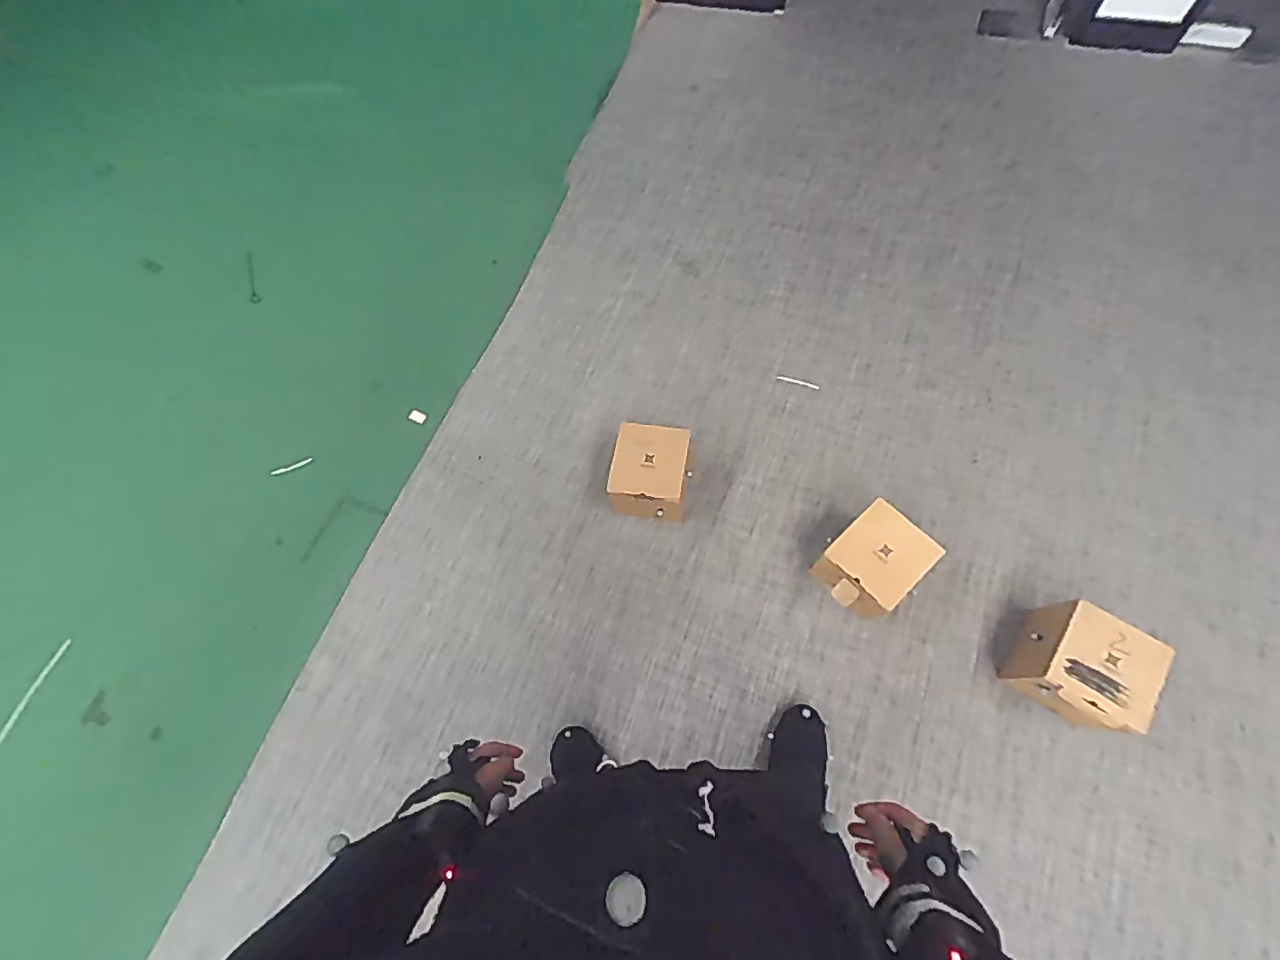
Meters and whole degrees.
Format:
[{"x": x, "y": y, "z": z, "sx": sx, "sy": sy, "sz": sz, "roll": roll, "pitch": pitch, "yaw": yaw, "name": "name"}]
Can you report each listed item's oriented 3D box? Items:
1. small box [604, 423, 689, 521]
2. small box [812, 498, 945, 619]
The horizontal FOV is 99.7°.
[{"x": 0.023, "y": -0.013, "z": 1.272, "sx": 0.168, "sy": 0.176, "sz": 0.179, "roll": 8, "pitch": 69, "yaw": 8, "name": "small box"}, {"x": 0.492, "y": 0.173, "z": 1.148, "sx": 0.179, "sy": 0.176, "sz": 0.168, "roll": -43, "pitch": 71, "yaw": -9, "name": "small box"}]
